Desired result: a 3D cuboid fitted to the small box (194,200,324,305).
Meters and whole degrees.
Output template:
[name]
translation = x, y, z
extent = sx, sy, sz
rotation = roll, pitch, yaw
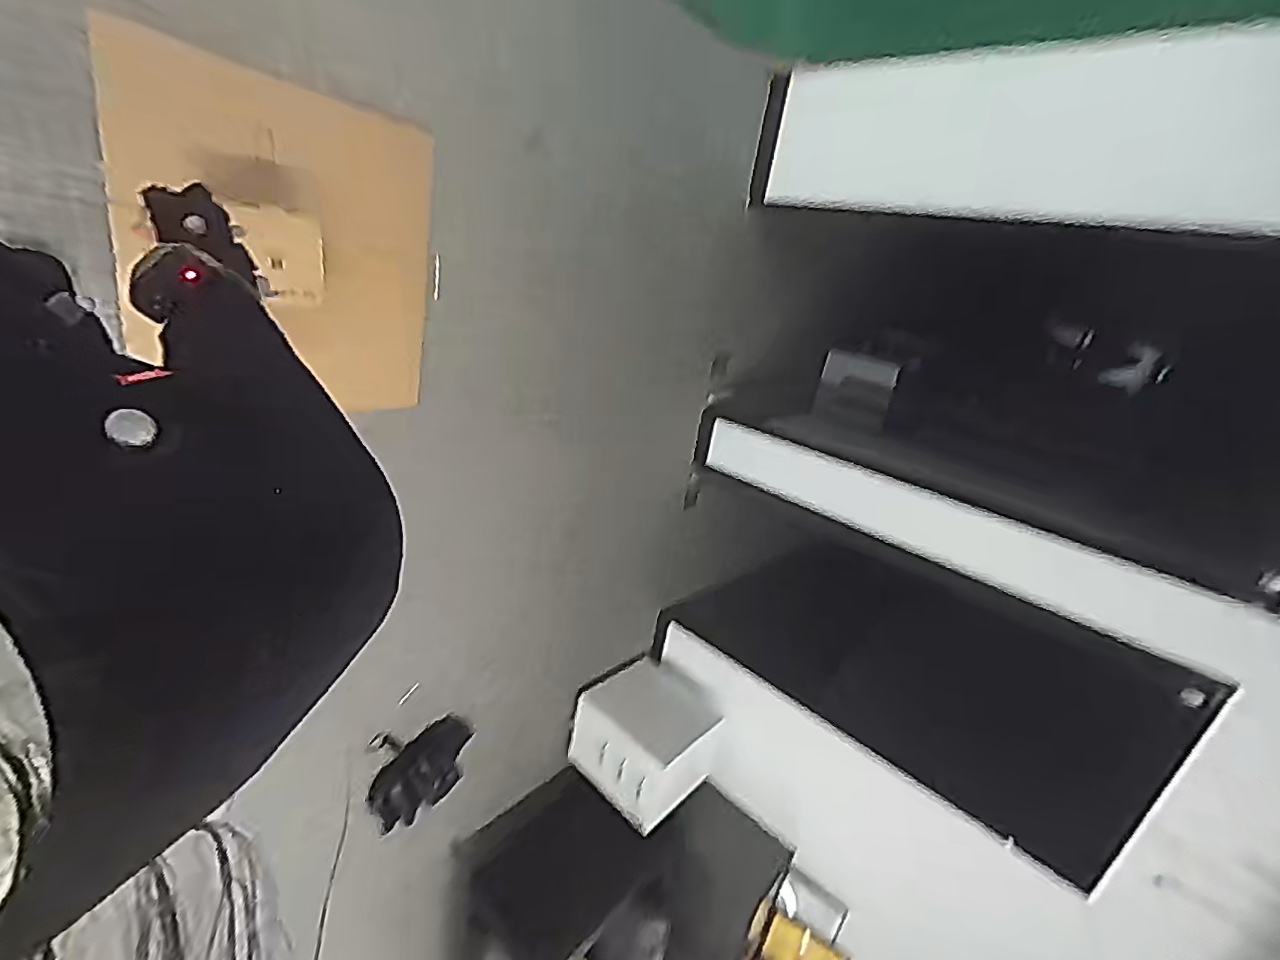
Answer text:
[small box]
translation = -0.767, -0.456, 1.091
extent = 0.168, 0.176, 0.179
rotation = -18, 123, -48
